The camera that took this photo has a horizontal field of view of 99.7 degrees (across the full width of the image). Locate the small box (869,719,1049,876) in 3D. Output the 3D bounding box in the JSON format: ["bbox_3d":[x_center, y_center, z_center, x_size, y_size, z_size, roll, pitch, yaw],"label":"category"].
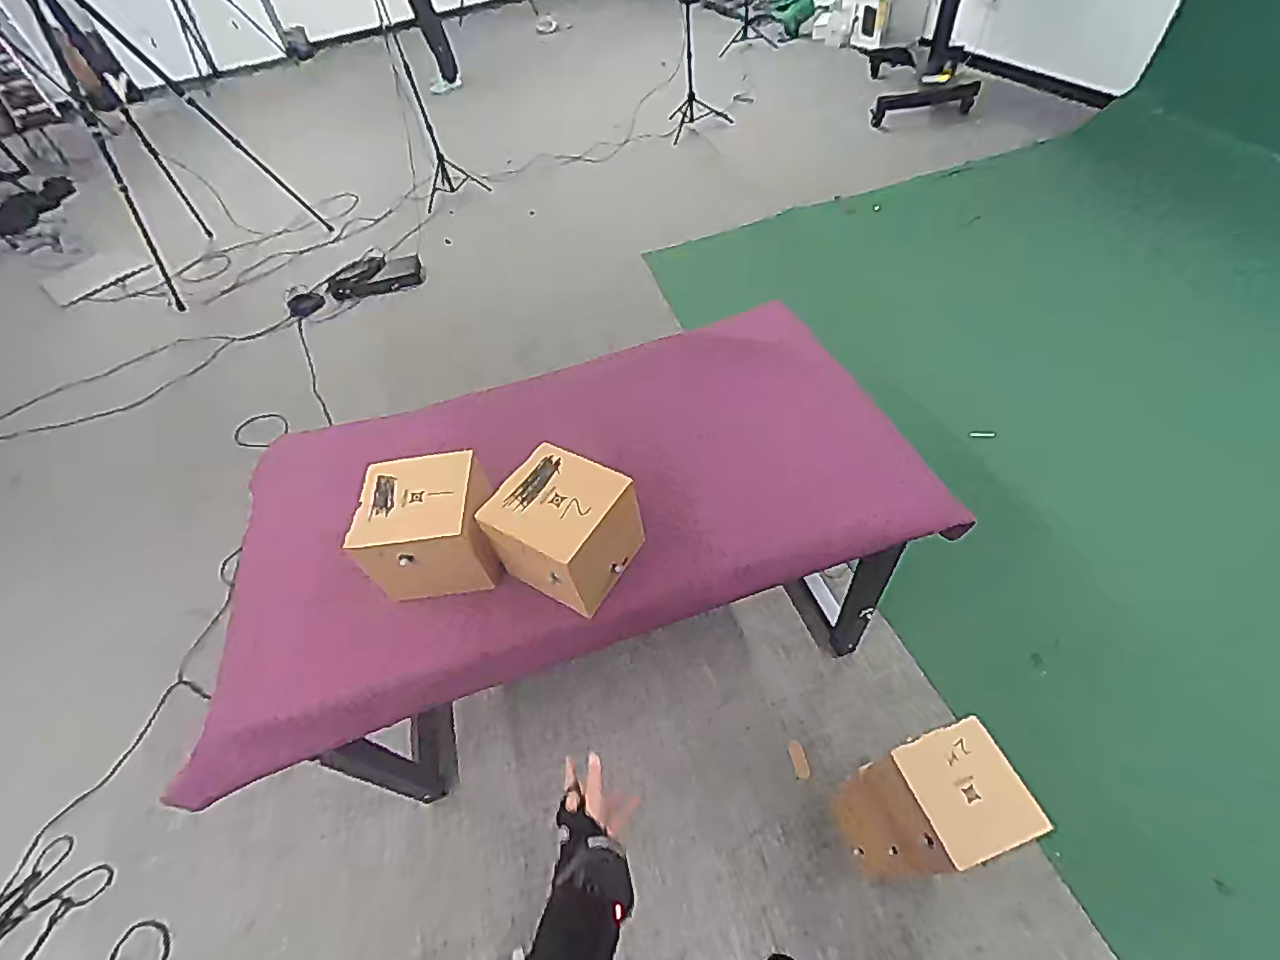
[{"bbox_3d":[0.516,0.534,0.907,0.168,0.176,0.179,-18,52,-7],"label":"small box"}]

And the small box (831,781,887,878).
[{"bbox_3d":[0.531,0.733,1.166,0.179,0.176,0.168,-17,51,-6],"label":"small box"}]

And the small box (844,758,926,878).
[{"bbox_3d":[0.518,0.633,1.039,0.168,0.176,0.179,-19,53,-7],"label":"small box"}]

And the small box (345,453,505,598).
[{"bbox_3d":[-0.336,0.079,0.884,0.179,0.176,0.168,-7,51,2],"label":"small box"}]
